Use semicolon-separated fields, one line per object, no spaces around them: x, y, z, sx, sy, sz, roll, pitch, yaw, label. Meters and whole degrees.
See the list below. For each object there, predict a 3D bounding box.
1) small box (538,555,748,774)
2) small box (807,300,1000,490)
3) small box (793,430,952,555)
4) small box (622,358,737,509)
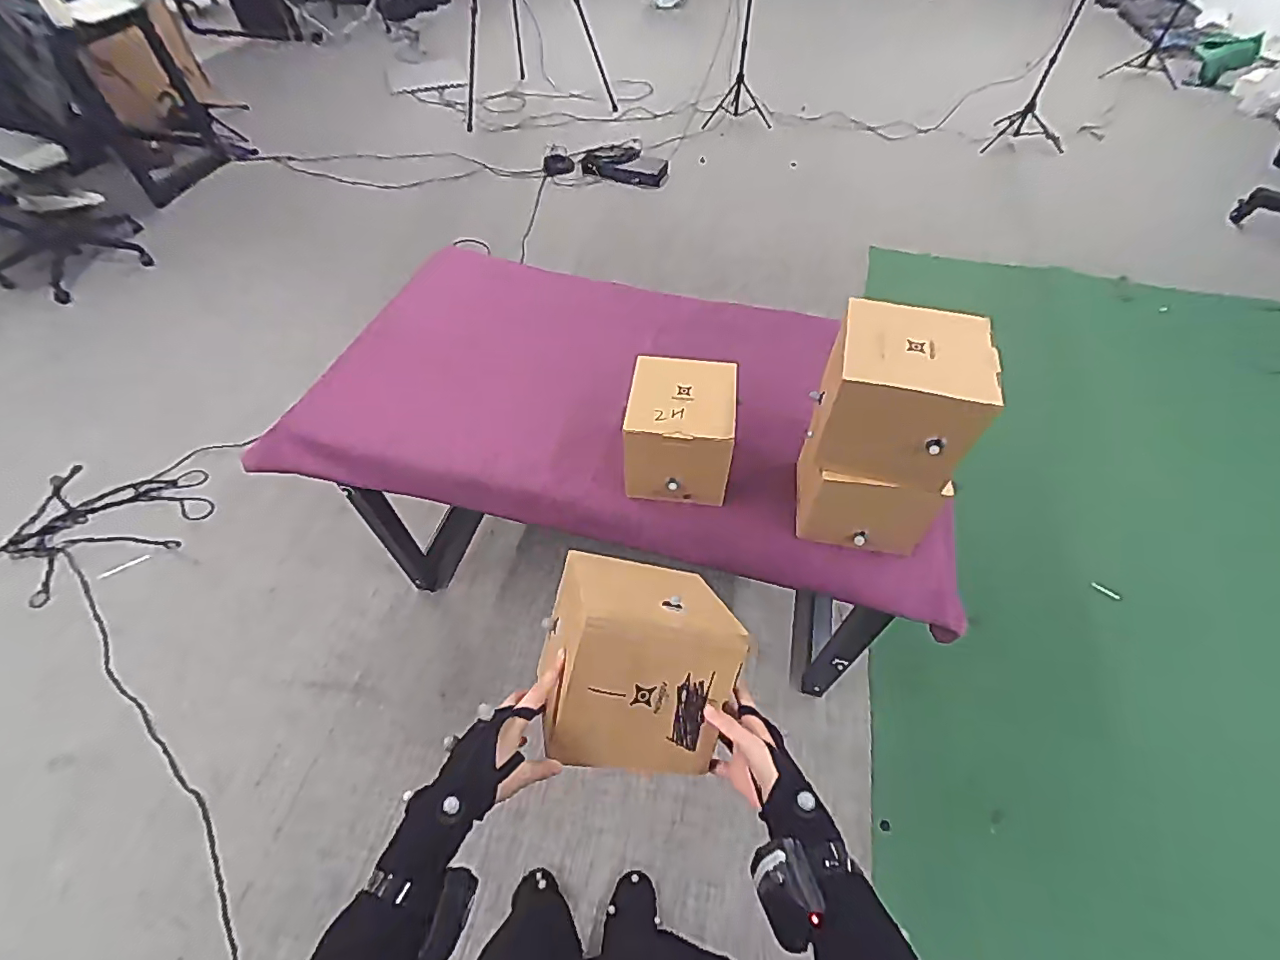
-0.010;0.197;0.610;0.179;0.168;0.176;13;9;-15;small box
0.335;-0.107;0.715;0.179;0.176;0.168;12;54;11;small box
0.346;0.000;0.839;0.179;0.176;0.168;8;53;7;small box
0.065;-0.076;0.900;0.168;0.176;0.179;6;52;6;small box
